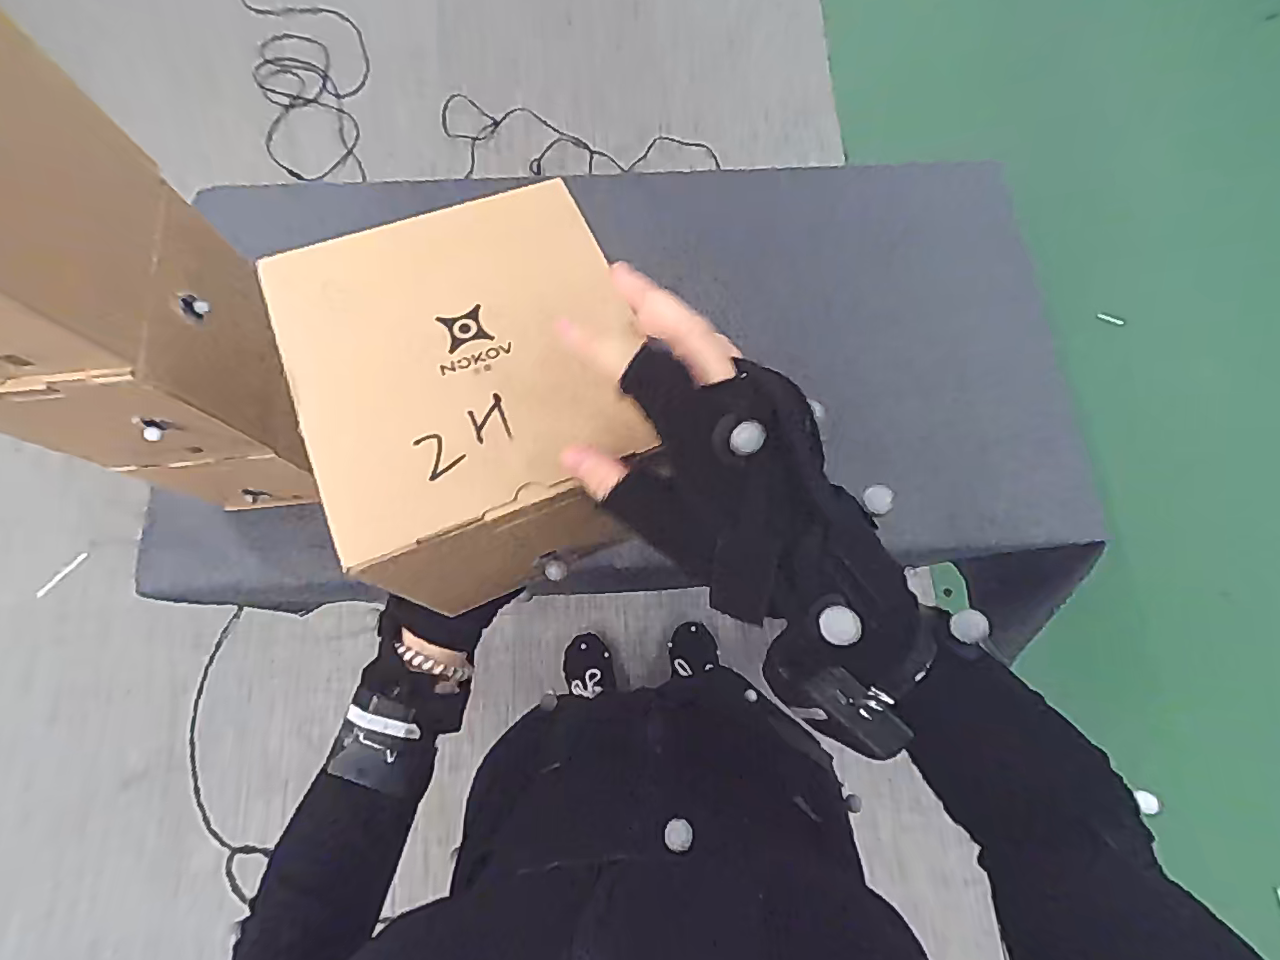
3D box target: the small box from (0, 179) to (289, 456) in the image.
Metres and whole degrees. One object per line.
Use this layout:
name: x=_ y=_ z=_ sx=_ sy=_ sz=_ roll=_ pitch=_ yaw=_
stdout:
small box: x=-0.443 y=-0.126 z=0.476 sx=0.168 sy=0.176 sz=0.179 roll=-5 pitch=74 yaw=-3

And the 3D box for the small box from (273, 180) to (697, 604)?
small box: x=-0.086 y=-0.041 z=0.339 sx=0.168 sy=0.176 sz=0.179 roll=-21 pitch=72 yaw=-11

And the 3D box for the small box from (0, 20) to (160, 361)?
small box: x=-0.439 y=-0.179 z=0.320 sx=0.168 sy=0.176 sz=0.179 roll=-6 pitch=74 yaw=-4

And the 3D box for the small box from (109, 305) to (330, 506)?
small box: x=-0.447 y=-0.078 z=0.631 sx=0.168 sy=0.176 sz=0.179 roll=-5 pitch=74 yaw=-3
